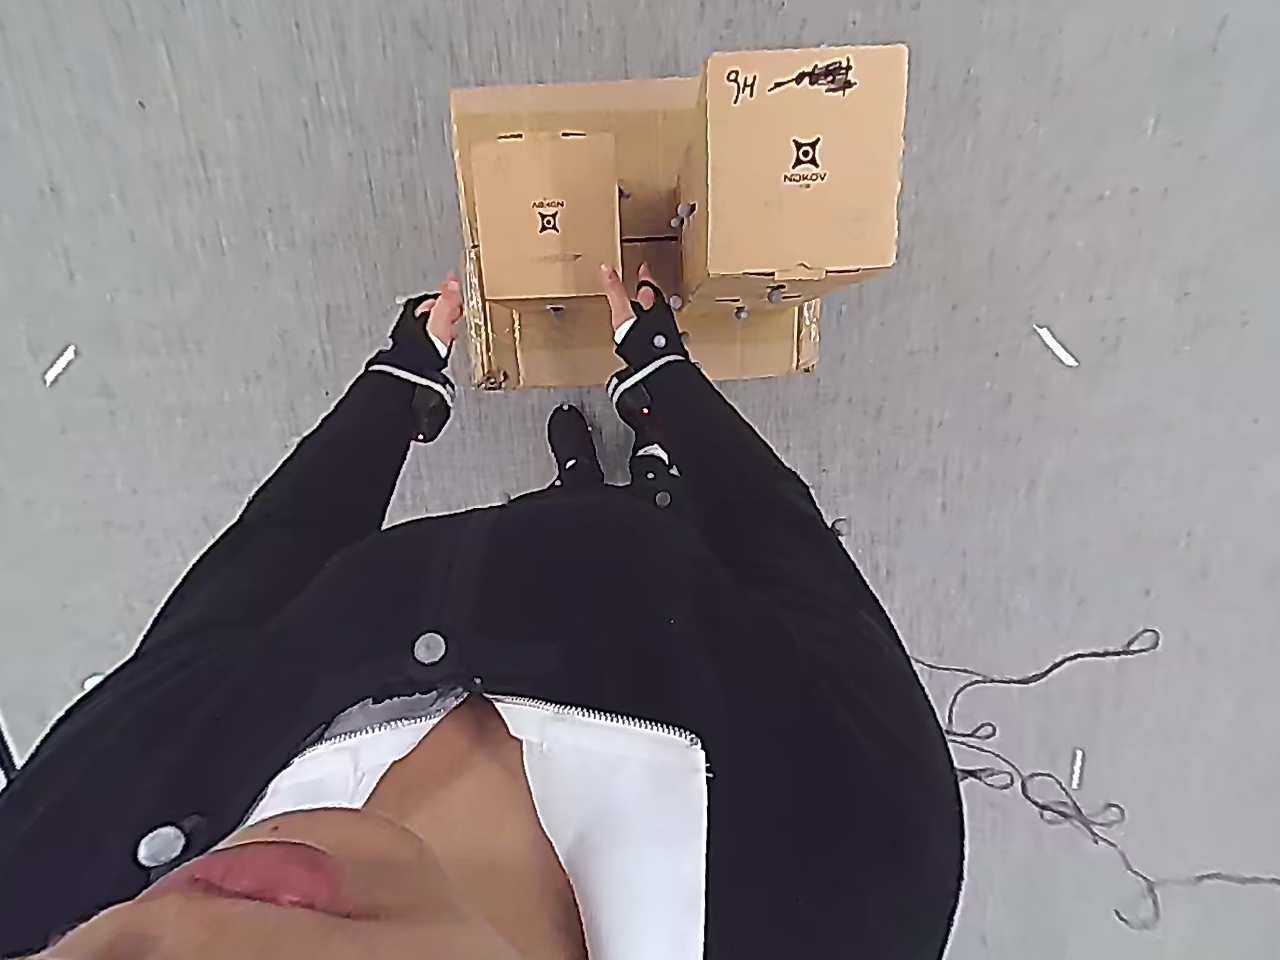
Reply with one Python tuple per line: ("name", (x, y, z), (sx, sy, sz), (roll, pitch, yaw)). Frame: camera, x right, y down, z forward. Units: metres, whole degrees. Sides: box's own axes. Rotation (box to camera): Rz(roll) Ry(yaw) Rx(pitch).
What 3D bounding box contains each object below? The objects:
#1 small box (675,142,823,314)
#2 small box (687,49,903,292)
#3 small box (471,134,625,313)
("small box", (0.133, -0.316, 0.702), (0.168, 0.176, 0.179), (-3, 103, 2))
("small box", (0.137, -0.285, 0.540), (0.168, 0.176, 0.179), (-2, 103, 1))
("small box", (-0.106, -0.317, 0.700), (0.168, 0.176, 0.179), (-3, 104, 0))
